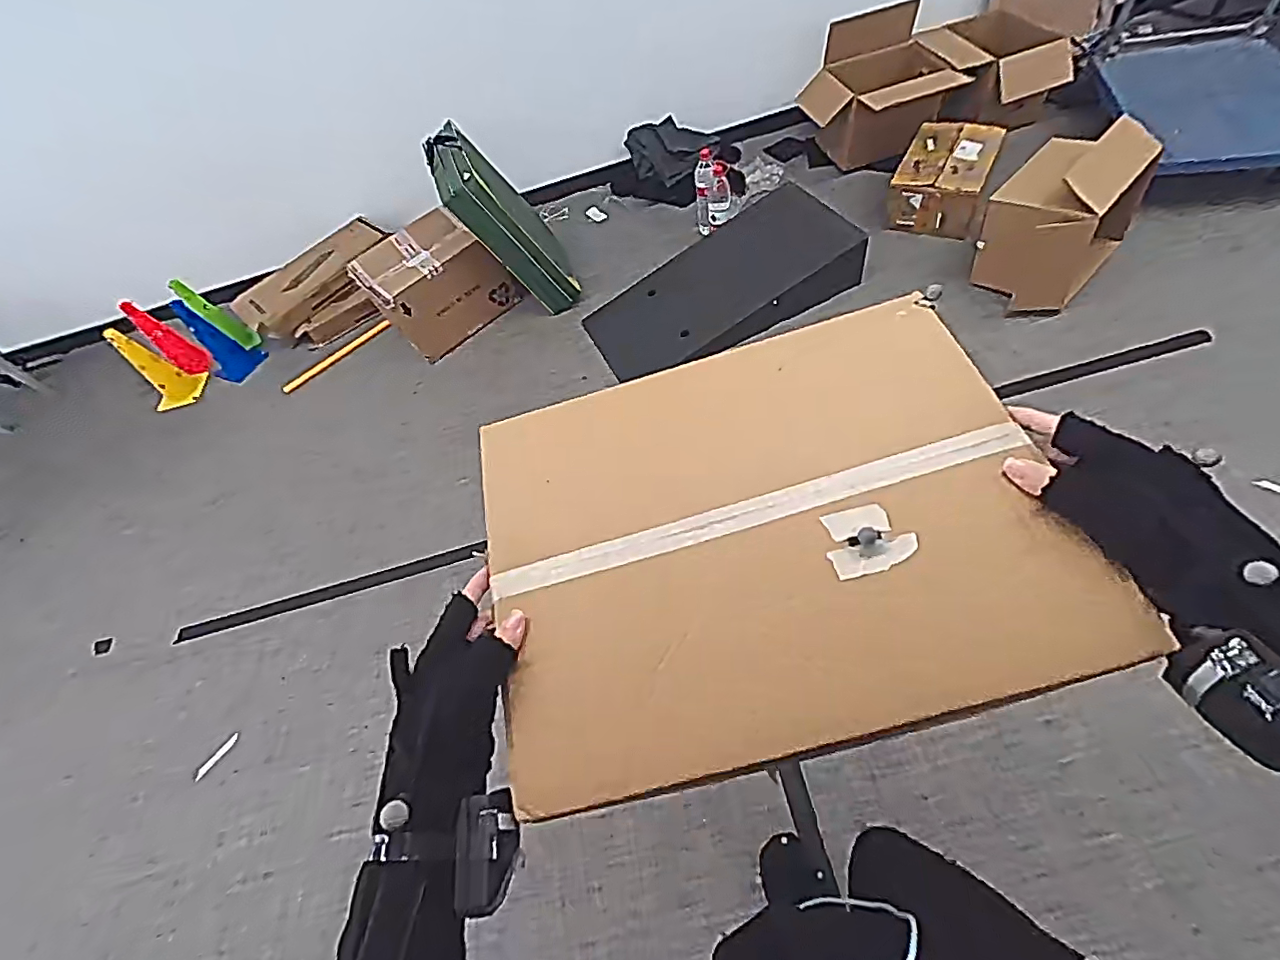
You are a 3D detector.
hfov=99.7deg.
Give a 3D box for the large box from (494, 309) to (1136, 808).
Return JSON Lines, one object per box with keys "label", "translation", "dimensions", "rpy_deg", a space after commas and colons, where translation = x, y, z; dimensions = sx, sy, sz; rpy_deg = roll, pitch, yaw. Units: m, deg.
{"label": "large box", "translation": [0.113, 0.101, 0.544], "dimensions": [0.408, 0.320, 0.320], "rpy_deg": [-17, 60, 3]}
